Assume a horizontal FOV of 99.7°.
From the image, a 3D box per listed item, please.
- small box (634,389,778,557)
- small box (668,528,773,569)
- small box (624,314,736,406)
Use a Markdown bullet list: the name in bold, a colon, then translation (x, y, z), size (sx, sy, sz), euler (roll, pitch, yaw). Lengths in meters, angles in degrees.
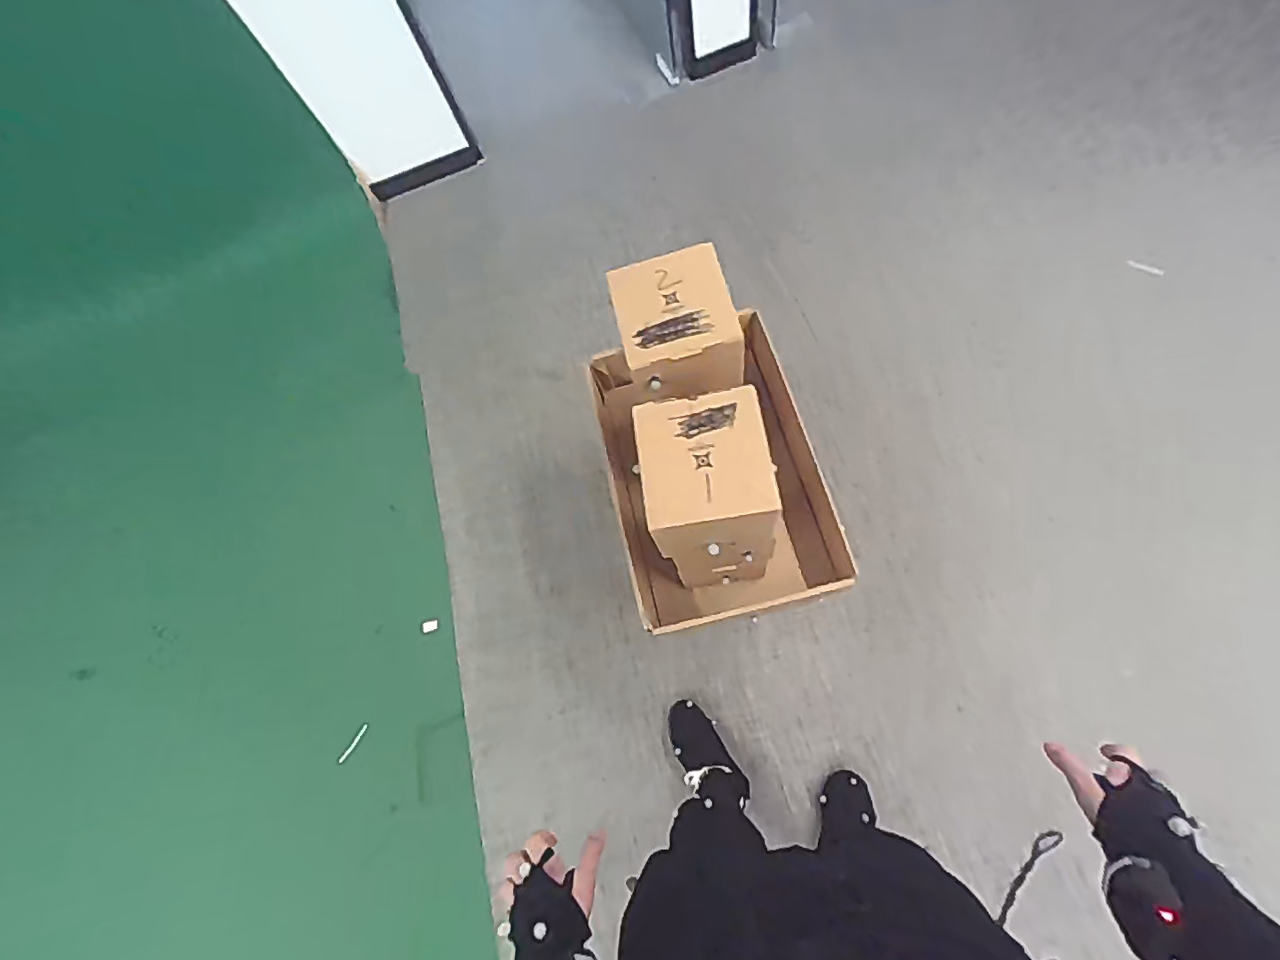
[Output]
- **small box**: translation (0.090, -0.002, 0.765), size (0.168, 0.176, 0.179), euler (-9, 69, 6)
- **small box**: translation (0.125, 0.049, 0.918), size (0.168, 0.176, 0.179), euler (-10, 68, 6)
- **small box**: translation (0.077, -0.173, 1.010), size (0.168, 0.176, 0.179), euler (-16, 70, 3)
